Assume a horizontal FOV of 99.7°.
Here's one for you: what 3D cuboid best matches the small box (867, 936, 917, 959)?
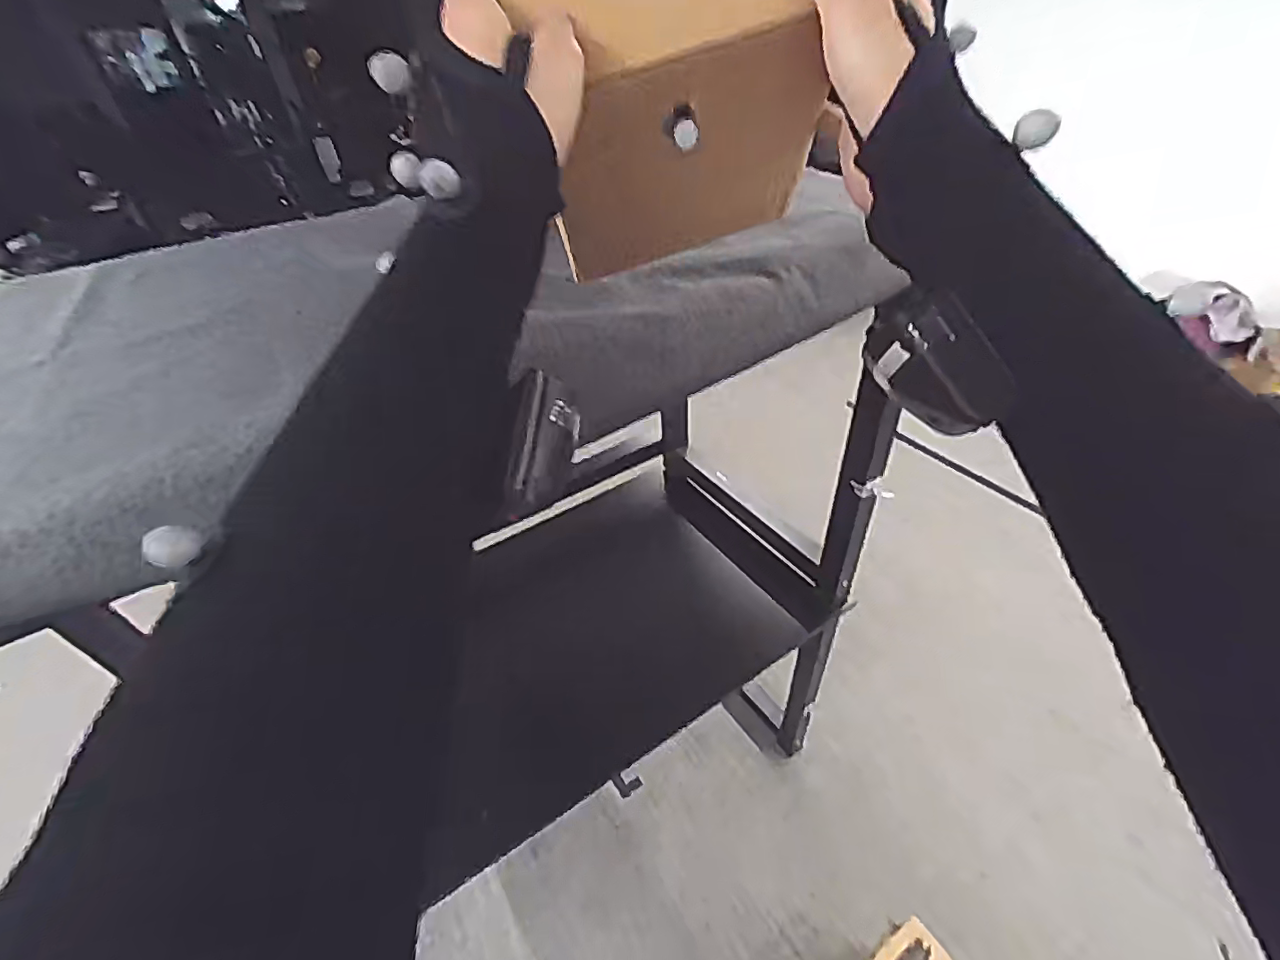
[{"bbox_3d":[0.514,1.085,1.094,0.179,0.176,0.168,-28,46,-23],"label":"small box"}]

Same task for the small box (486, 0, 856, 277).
[{"bbox_3d":[0.006,-0.269,0.357,0.179,0.176,0.168,-19,78,1],"label":"small box"}]

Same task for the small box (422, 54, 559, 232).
[{"bbox_3d":[-0.149,-0.427,0.681,0.168,0.176,0.179,-24,43,-20],"label":"small box"}]
